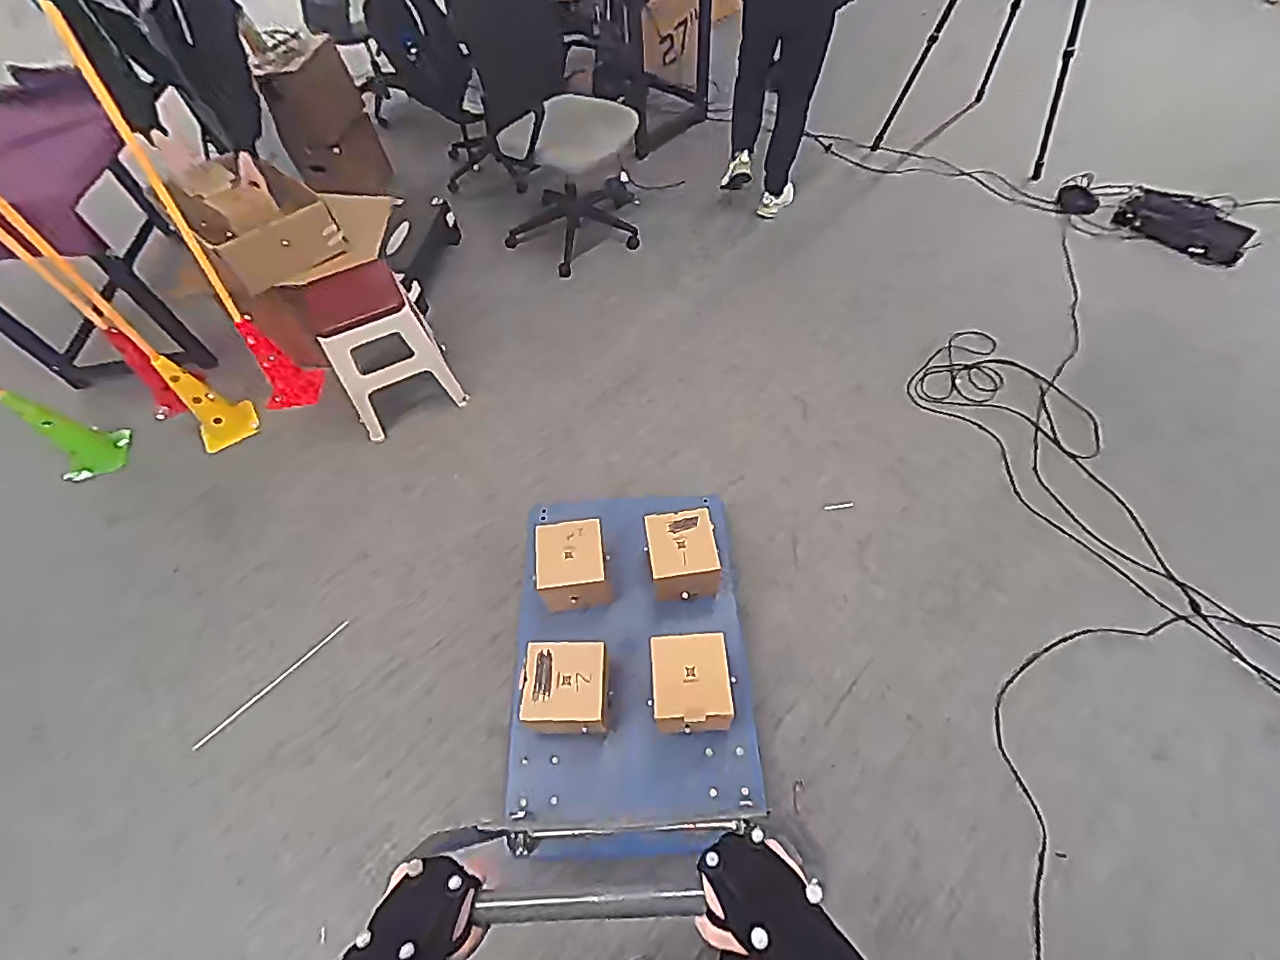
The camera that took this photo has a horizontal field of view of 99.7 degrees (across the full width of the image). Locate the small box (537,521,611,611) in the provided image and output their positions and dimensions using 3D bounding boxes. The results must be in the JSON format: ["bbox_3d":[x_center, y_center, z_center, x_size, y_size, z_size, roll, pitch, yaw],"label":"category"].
[{"bbox_3d":[-0.168,0.228,1.396,0.168,0.176,0.179,-6,57,-2],"label":"small box"}]

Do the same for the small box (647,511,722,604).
[{"bbox_3d":[0.110,0.203,1.397,0.168,0.176,0.179,-8,57,-1],"label":"small box"}]

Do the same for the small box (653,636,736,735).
[{"bbox_3d":[0.116,0.468,1.224,0.168,0.176,0.179,-4,57,1],"label":"small box"}]
